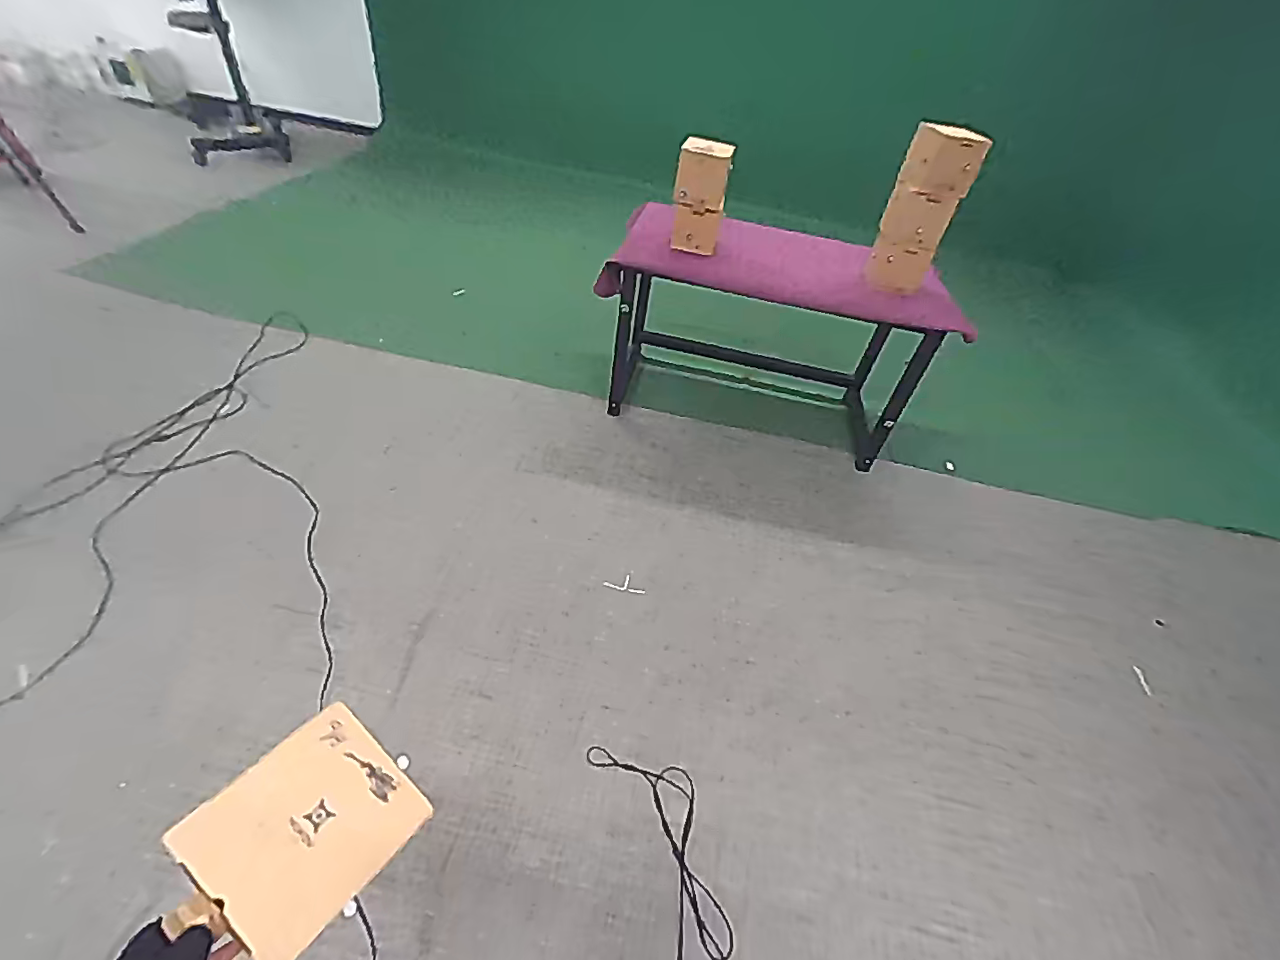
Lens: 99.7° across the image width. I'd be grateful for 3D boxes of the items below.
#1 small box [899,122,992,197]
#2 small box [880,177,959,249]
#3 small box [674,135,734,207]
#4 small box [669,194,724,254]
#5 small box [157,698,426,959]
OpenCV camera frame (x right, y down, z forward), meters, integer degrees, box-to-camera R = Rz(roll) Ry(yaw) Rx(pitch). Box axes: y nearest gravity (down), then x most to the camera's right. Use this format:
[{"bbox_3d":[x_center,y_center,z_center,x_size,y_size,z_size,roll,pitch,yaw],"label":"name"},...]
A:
[{"bbox_3d":[0.983,-1.039,1.757,0.168,0.176,0.179,3,43,-8],"label":"small box"},{"bbox_3d":[0.955,-0.924,1.869,0.168,0.176,0.179,10,44,0],"label":"small box"},{"bbox_3d":[0.221,-1.075,1.884,0.168,0.176,0.179,16,44,3],"label":"small box"},{"bbox_3d":[0.209,-0.969,2.010,0.168,0.176,0.179,12,45,0],"label":"small box"},{"bbox_3d":[-0.364,0.382,0.595,0.168,0.176,0.179,44,48,7],"label":"small box"}]
